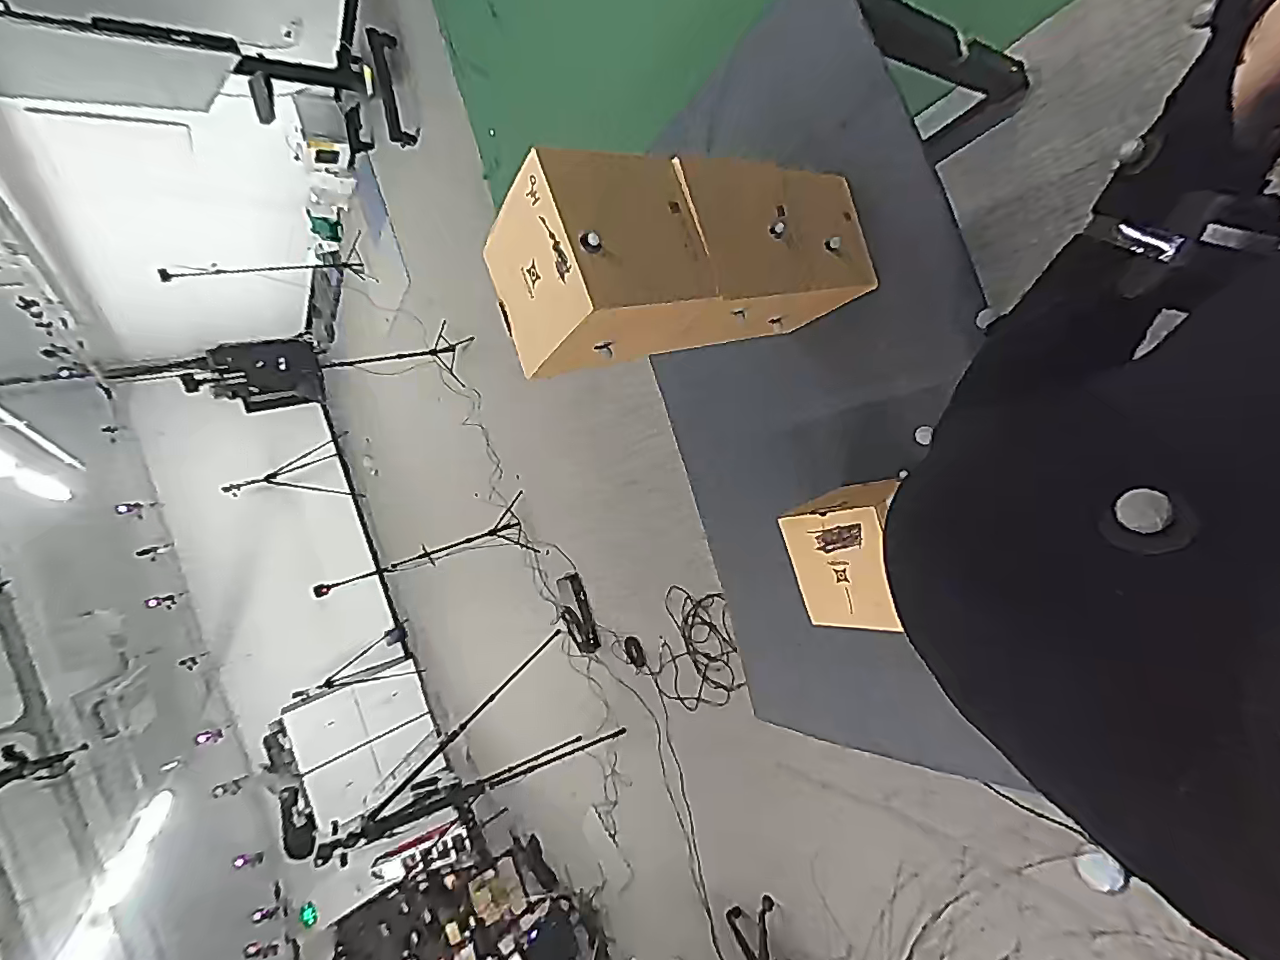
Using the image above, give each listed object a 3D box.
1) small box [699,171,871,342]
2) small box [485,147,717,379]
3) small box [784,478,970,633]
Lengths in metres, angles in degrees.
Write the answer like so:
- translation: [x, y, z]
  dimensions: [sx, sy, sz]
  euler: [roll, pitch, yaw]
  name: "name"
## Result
- translation: [0.208, -0.319, 0.786]
  dimensions: [0.179, 0.176, 0.168]
  euler: [-17, 92, 56]
  name: "small box"
- translation: [-0.046, -0.229, 0.599]
  dimensions: [0.179, 0.176, 0.168]
  euler: [-23, 87, 56]
  name: "small box"
- translation: [0.348, 0.103, 0.795]
  dimensions: [0.168, 0.176, 0.179]
  euler: [-15, 94, 55]
  name: "small box"
